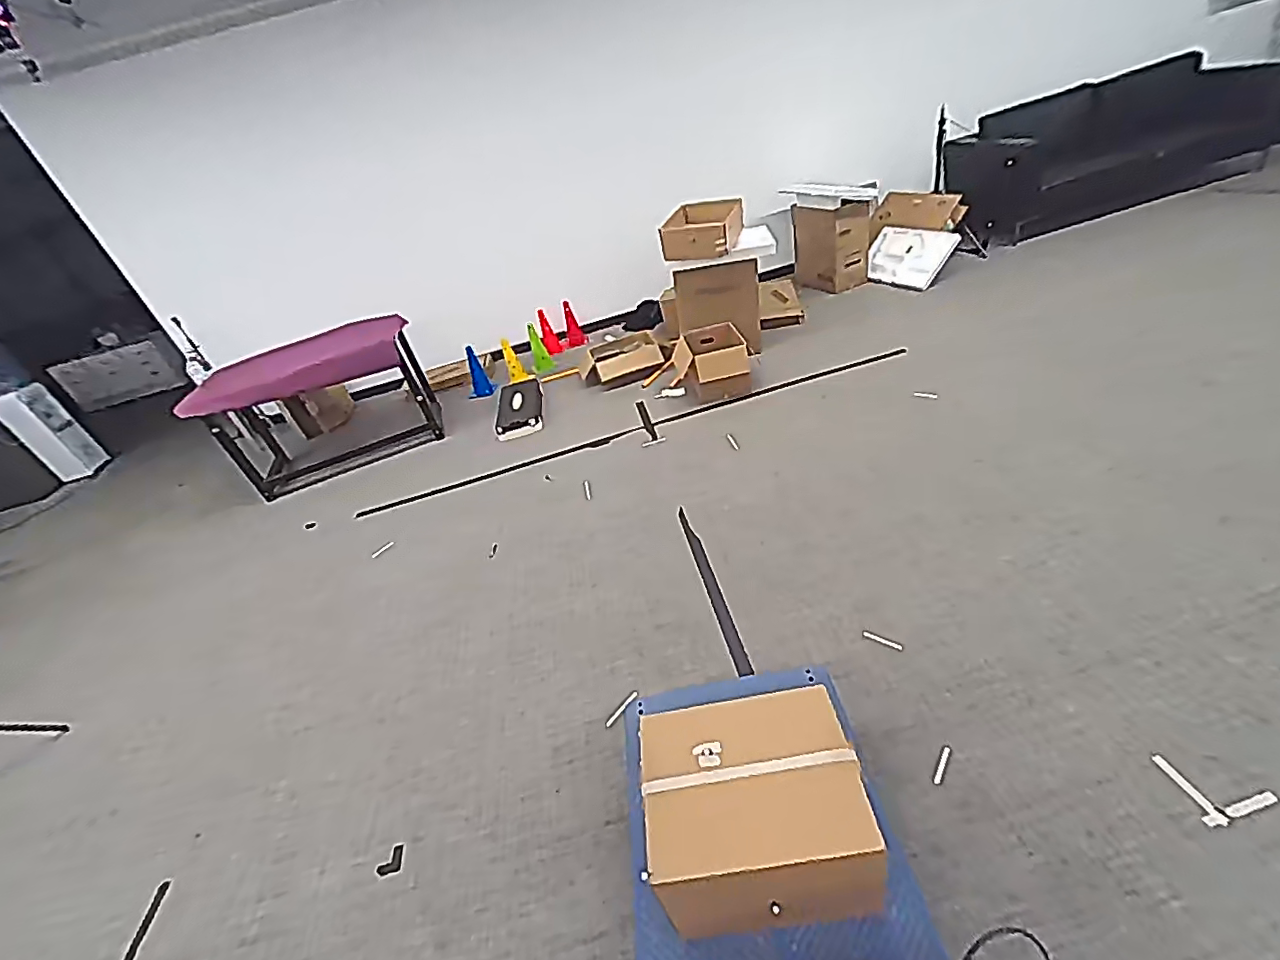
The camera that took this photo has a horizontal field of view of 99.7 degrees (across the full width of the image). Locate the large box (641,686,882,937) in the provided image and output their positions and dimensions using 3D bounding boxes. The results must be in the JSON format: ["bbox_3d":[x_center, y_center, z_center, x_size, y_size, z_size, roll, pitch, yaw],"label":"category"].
[{"bbox_3d":[0.241,0.689,1.128,0.408,0.320,0.320,-14,33,5],"label":"large box"}]
